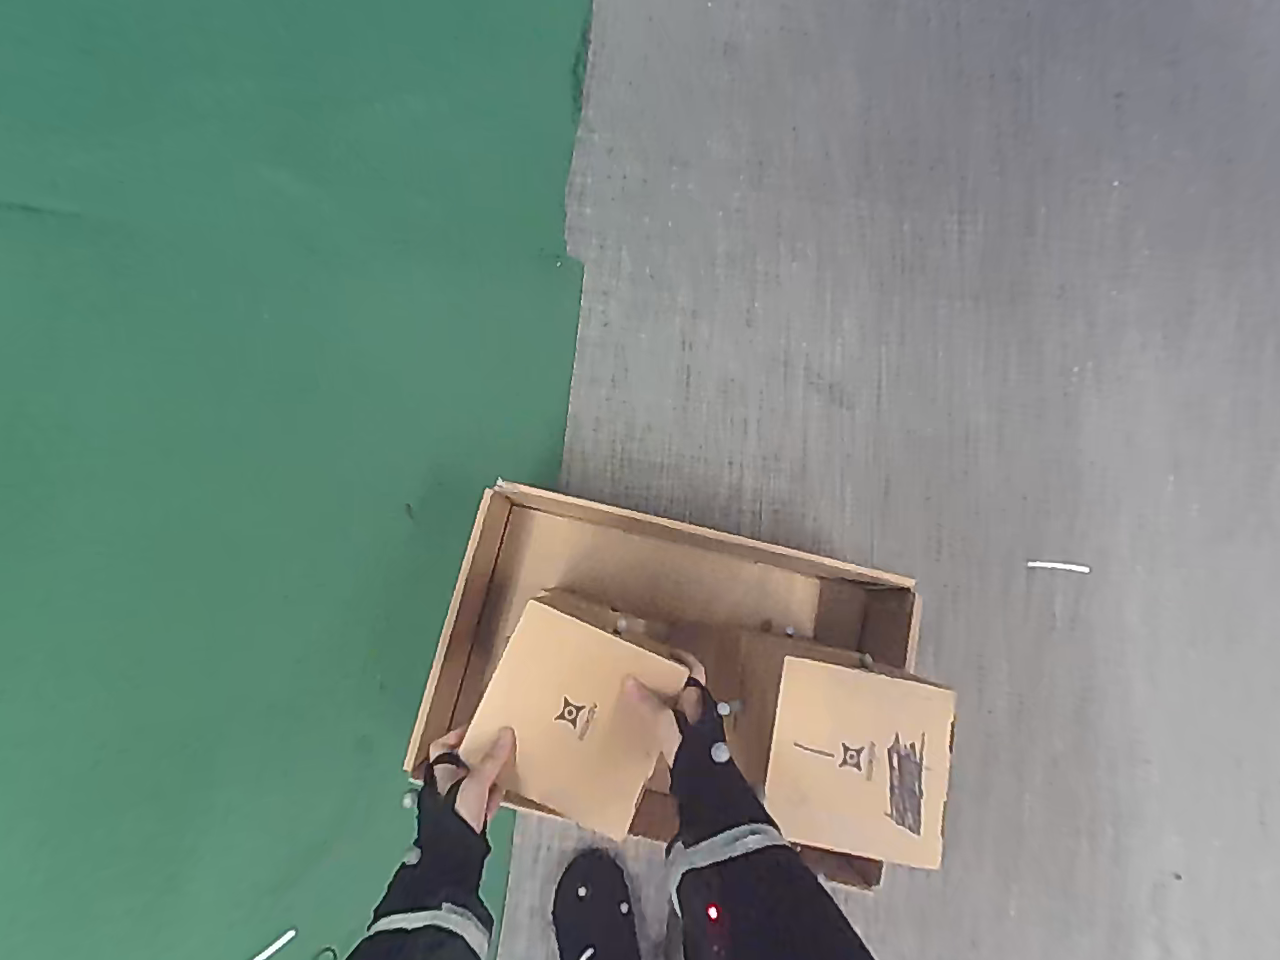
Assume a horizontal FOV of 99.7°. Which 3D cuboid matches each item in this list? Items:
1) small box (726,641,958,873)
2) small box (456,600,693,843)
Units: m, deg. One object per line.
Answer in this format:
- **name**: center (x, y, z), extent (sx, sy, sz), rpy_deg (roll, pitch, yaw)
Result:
- **small box**: center (0.206, 0.281, 0.591), extent (0.179, 0.176, 0.168), rpy_deg (12, 80, 0)
- **small box**: center (-0.065, 0.240, 0.587), extent (0.179, 0.176, 0.168), rpy_deg (24, 79, 0)
